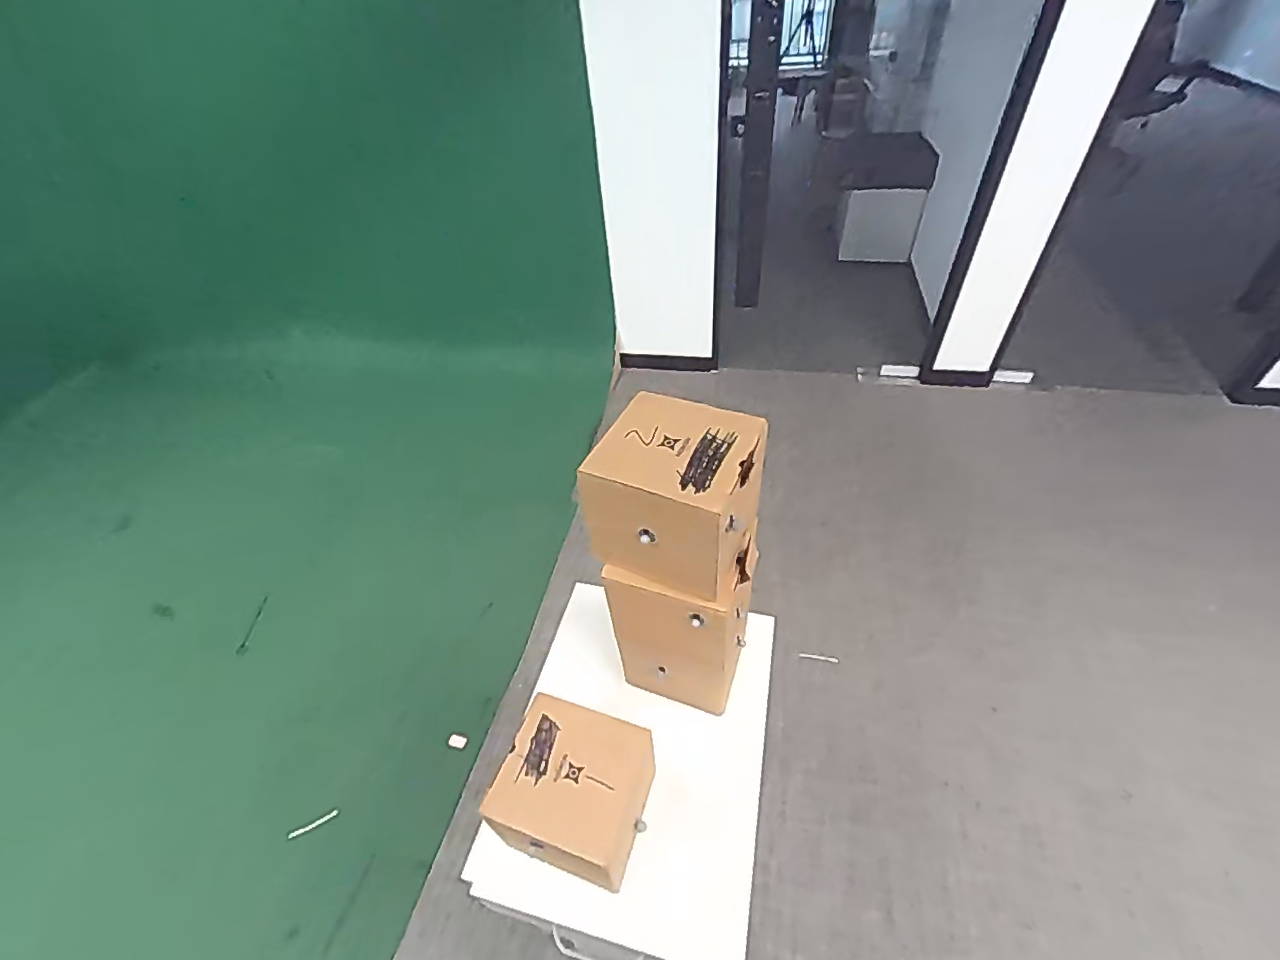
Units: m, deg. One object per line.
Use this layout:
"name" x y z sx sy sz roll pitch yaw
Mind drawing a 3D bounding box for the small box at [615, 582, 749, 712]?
"small box" 0.075 0.261 0.909 0.179 0.176 0.168 13 47 18

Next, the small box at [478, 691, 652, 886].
"small box" -0.091 0.430 0.752 0.179 0.176 0.168 13 47 16

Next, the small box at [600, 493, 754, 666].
"small box" 0.060 0.148 0.794 0.179 0.176 0.168 12 48 17
